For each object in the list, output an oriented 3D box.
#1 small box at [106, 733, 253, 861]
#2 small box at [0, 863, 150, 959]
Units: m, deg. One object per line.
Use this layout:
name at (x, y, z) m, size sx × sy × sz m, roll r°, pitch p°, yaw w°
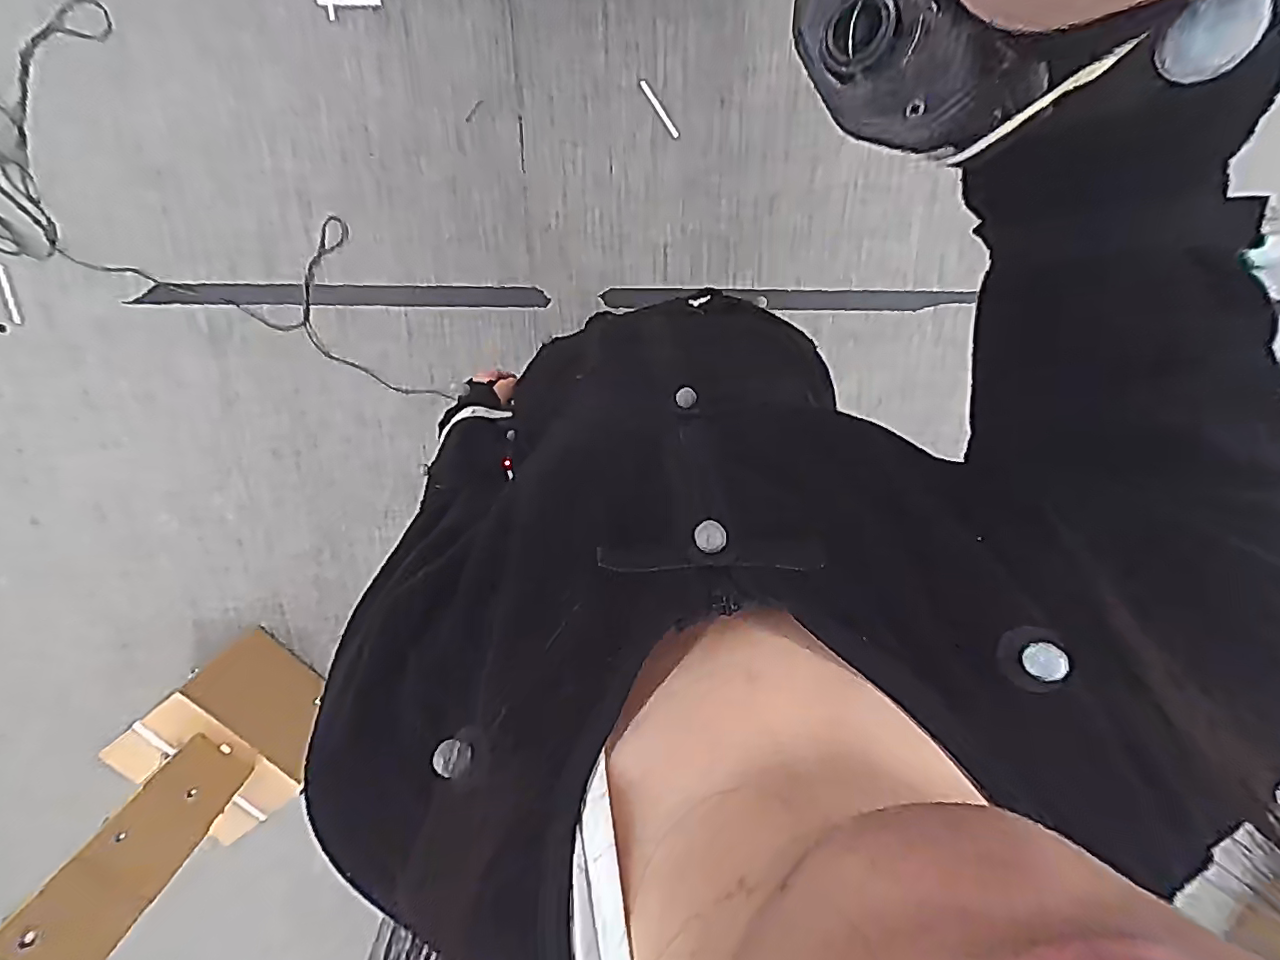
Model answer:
small box at (-1.104, 0.763, 1.315) m, size 0.168 × 0.176 × 0.179 m, roll -40°, pitch 103°, yaw 9°
small box at (-1.090, 0.857, 1.000) m, size 0.168 × 0.176 × 0.179 m, roll -39°, pitch 104°, yaw 10°
